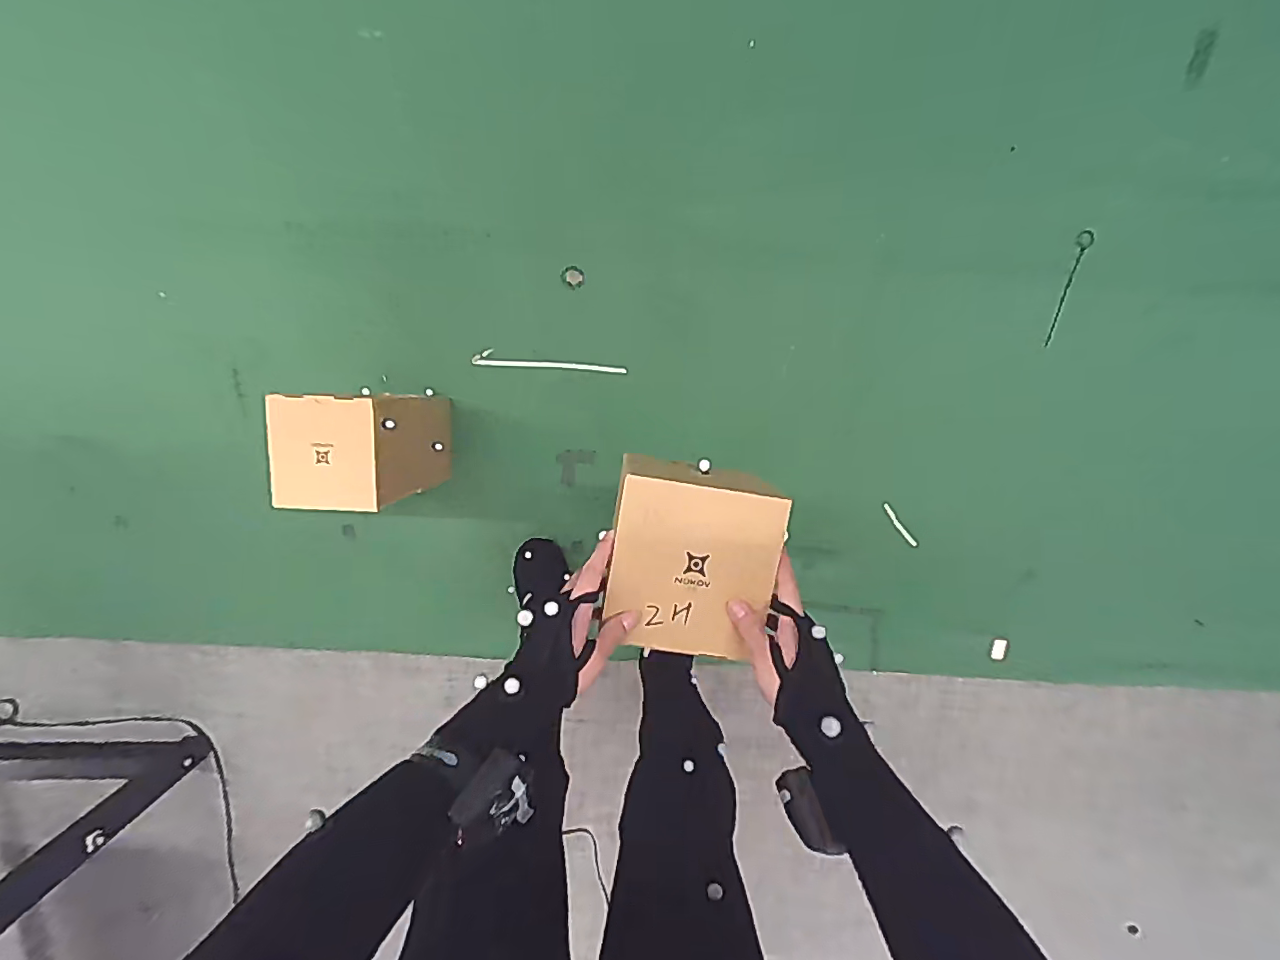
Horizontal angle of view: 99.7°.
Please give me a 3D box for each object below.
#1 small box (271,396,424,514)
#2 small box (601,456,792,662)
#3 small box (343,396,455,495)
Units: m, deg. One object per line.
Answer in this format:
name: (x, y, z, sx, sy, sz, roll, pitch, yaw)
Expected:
small box: (-0.474, -0.048, 0.901, 0.168, 0.176, 0.179, 2, 98, 1)
small box: (0.052, 0.076, 0.613, 0.168, 0.176, 0.179, 10, 100, -3)
small box: (-0.474, -0.073, 1.061, 0.168, 0.176, 0.179, 3, 99, 1)
